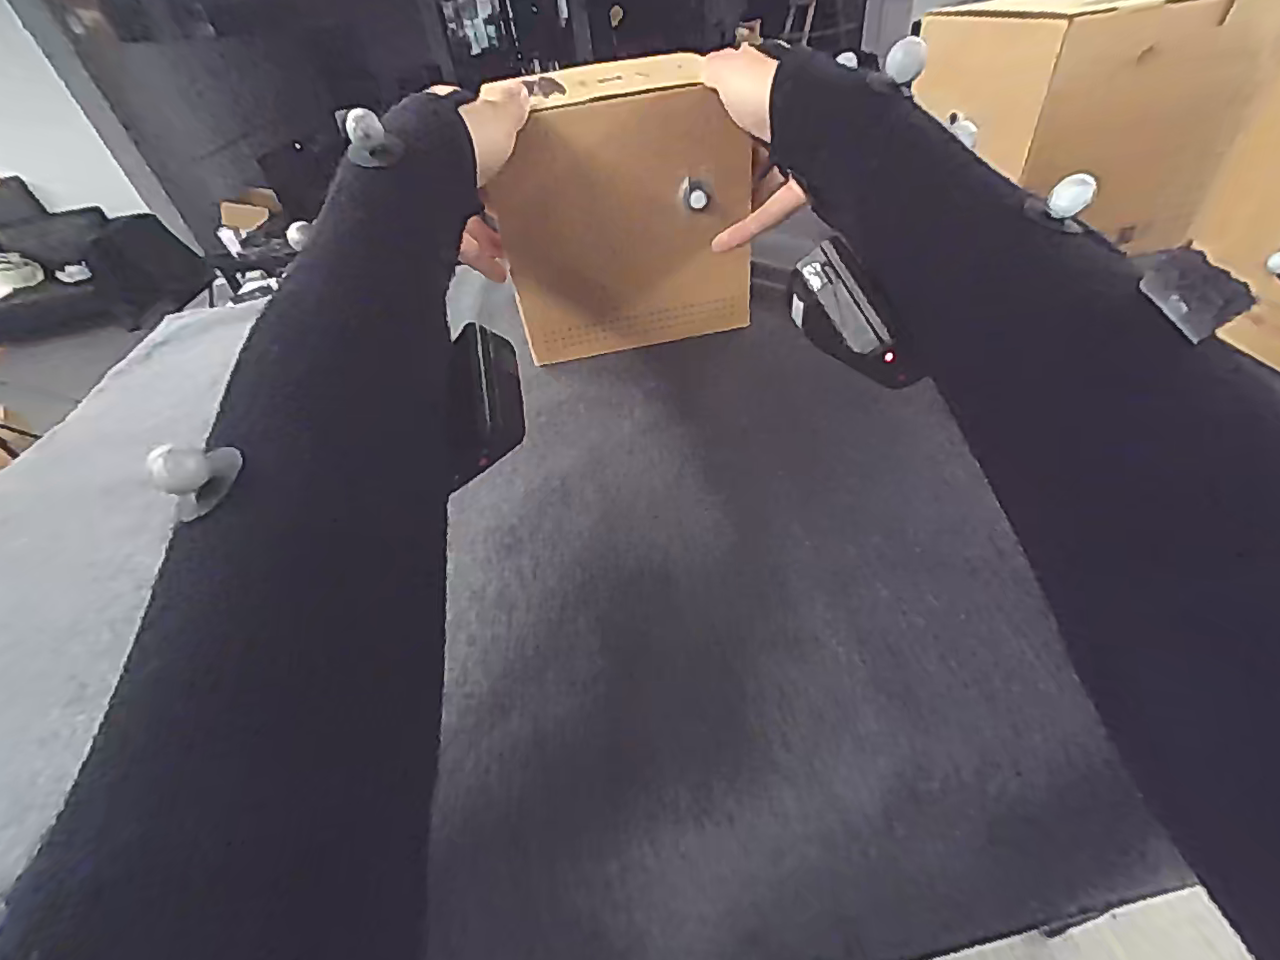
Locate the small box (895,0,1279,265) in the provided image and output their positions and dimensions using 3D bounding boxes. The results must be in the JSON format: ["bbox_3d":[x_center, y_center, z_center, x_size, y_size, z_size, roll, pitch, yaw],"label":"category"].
[{"bbox_3d":[0.337,-0.290,0.443,0.168,0.176,0.179,-11,41,-1],"label":"small box"}]

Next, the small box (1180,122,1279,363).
[{"bbox_3d":[0.440,-0.142,0.257,0.179,0.176,0.168,-6,40,6],"label":"small box"}]
